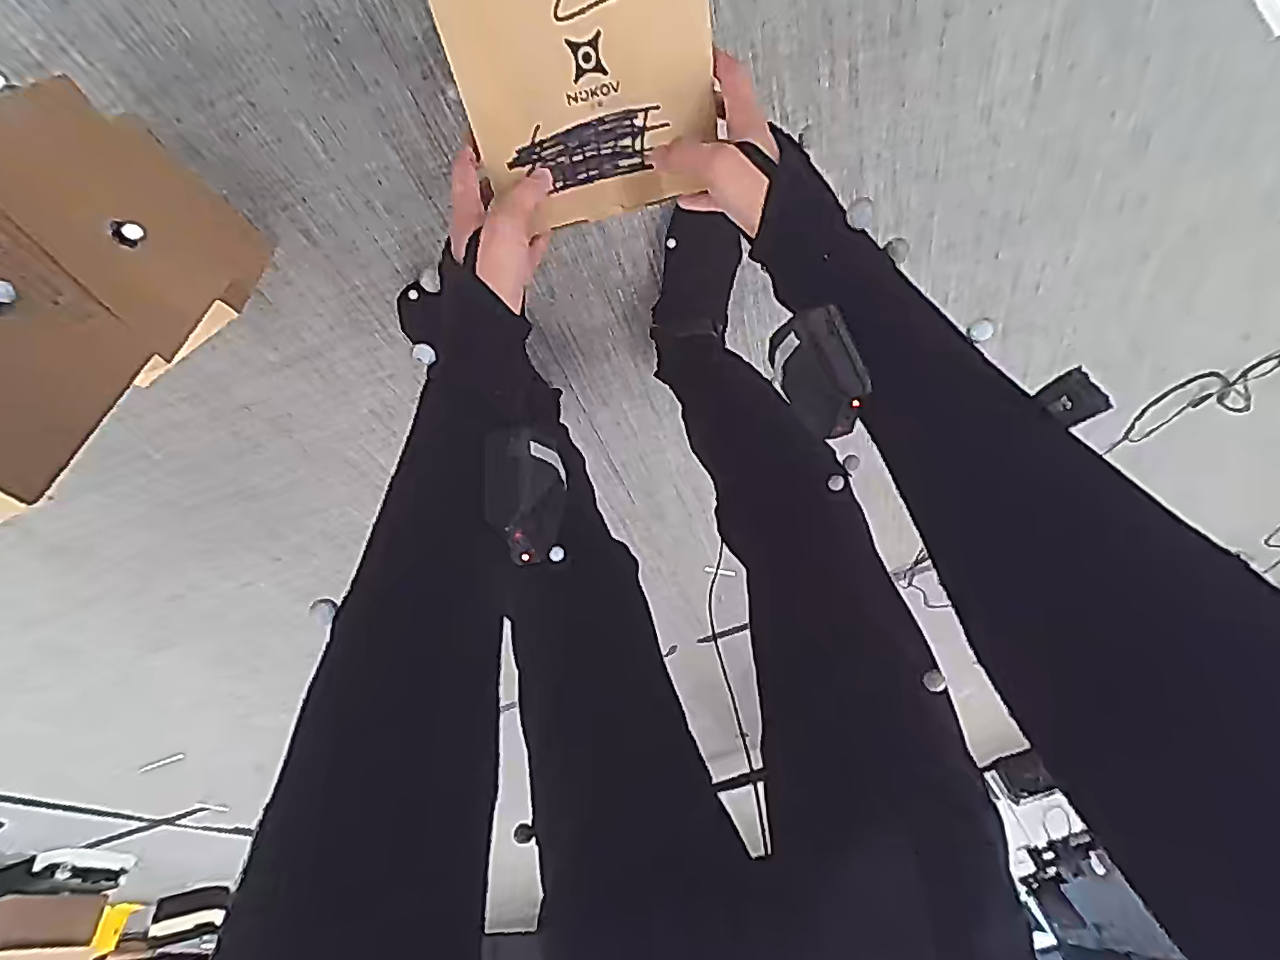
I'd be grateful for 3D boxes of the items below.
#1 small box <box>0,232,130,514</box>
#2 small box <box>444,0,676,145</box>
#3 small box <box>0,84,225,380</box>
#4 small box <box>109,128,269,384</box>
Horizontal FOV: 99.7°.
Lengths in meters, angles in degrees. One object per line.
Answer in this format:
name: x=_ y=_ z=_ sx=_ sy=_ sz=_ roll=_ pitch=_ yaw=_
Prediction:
small box: x=-0.474 y=-0.063 z=0.319 sx=0.179 sy=0.176 sz=0.168 roll=-22 pitch=137 yaw=8
small box: x=-0.084 y=-0.454 z=0.508 sx=0.179 sy=0.176 sz=0.168 roll=-21 pitch=138 yaw=4
small box: x=-0.491 y=-0.184 z=0.429 sx=0.168 sy=0.176 sz=0.179 roll=-17 pitch=138 yaw=3
small box: x=-0.555 y=-0.246 z=0.587 sx=0.168 sy=0.176 sz=0.179 roll=-28 pitch=137 yaw=14
